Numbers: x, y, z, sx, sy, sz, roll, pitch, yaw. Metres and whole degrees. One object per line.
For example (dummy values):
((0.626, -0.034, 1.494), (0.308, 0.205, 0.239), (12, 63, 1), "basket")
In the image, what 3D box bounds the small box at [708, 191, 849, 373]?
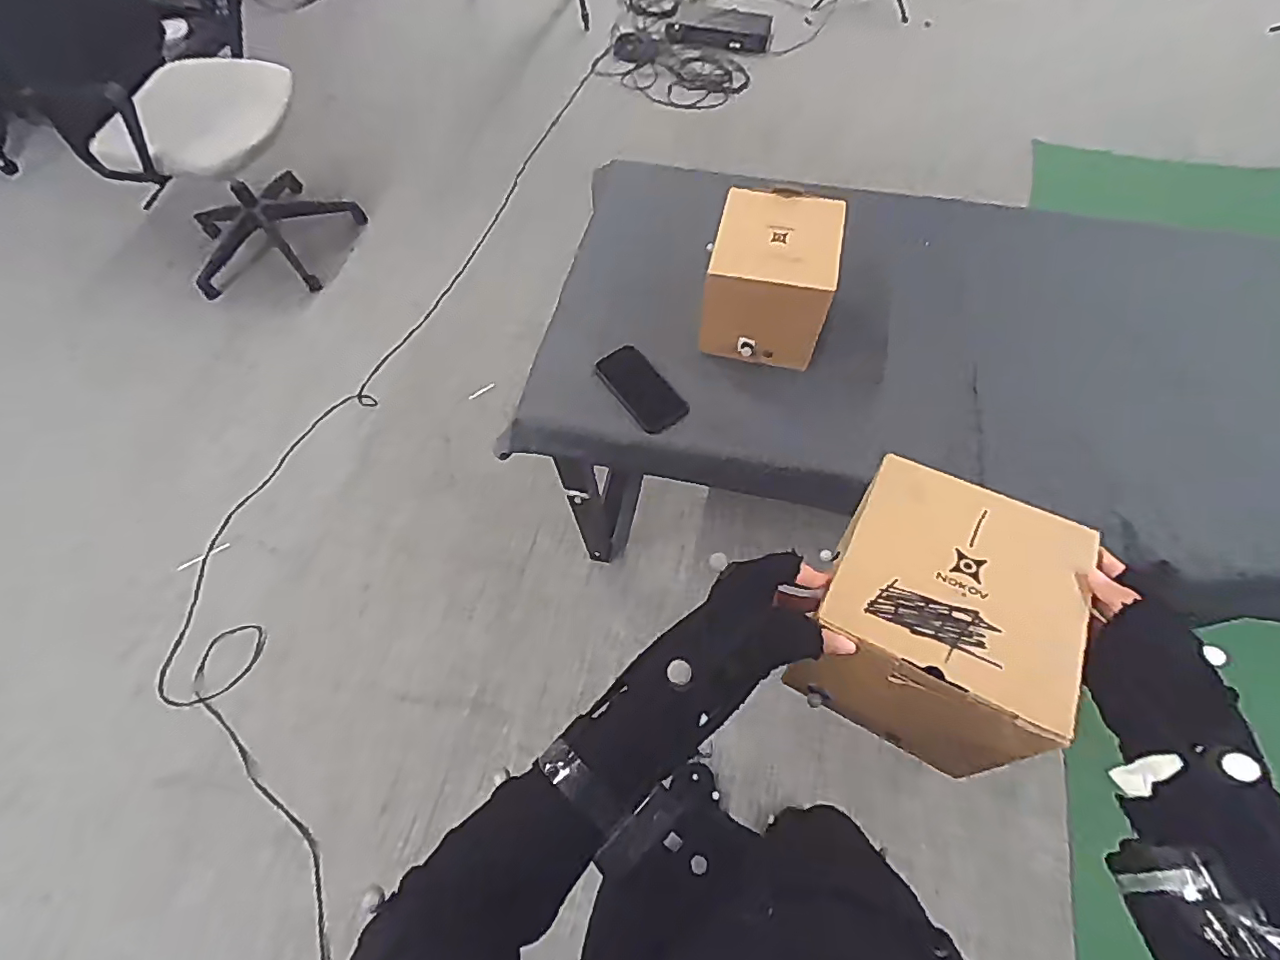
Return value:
((0.196, -0.287, 0.798), (0.168, 0.176, 0.179), (11, 65, 9), "small box")
